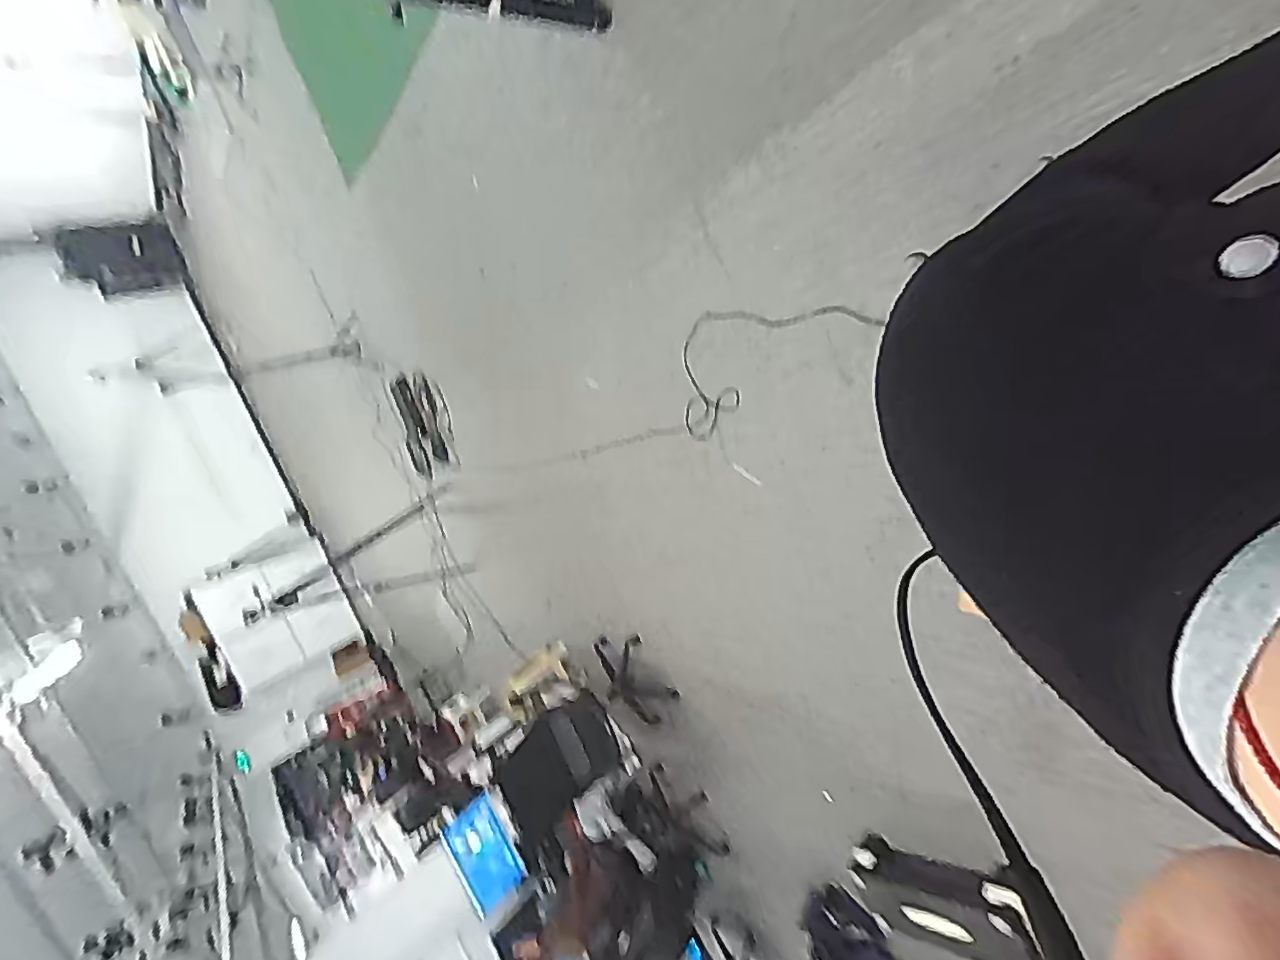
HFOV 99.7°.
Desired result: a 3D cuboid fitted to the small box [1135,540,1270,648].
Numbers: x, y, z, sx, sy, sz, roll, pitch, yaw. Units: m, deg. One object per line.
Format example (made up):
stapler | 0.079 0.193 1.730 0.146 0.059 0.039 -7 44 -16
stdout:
small box | 1.227 0.244 1.182 0.168 0.176 0.179 -21 97 53
